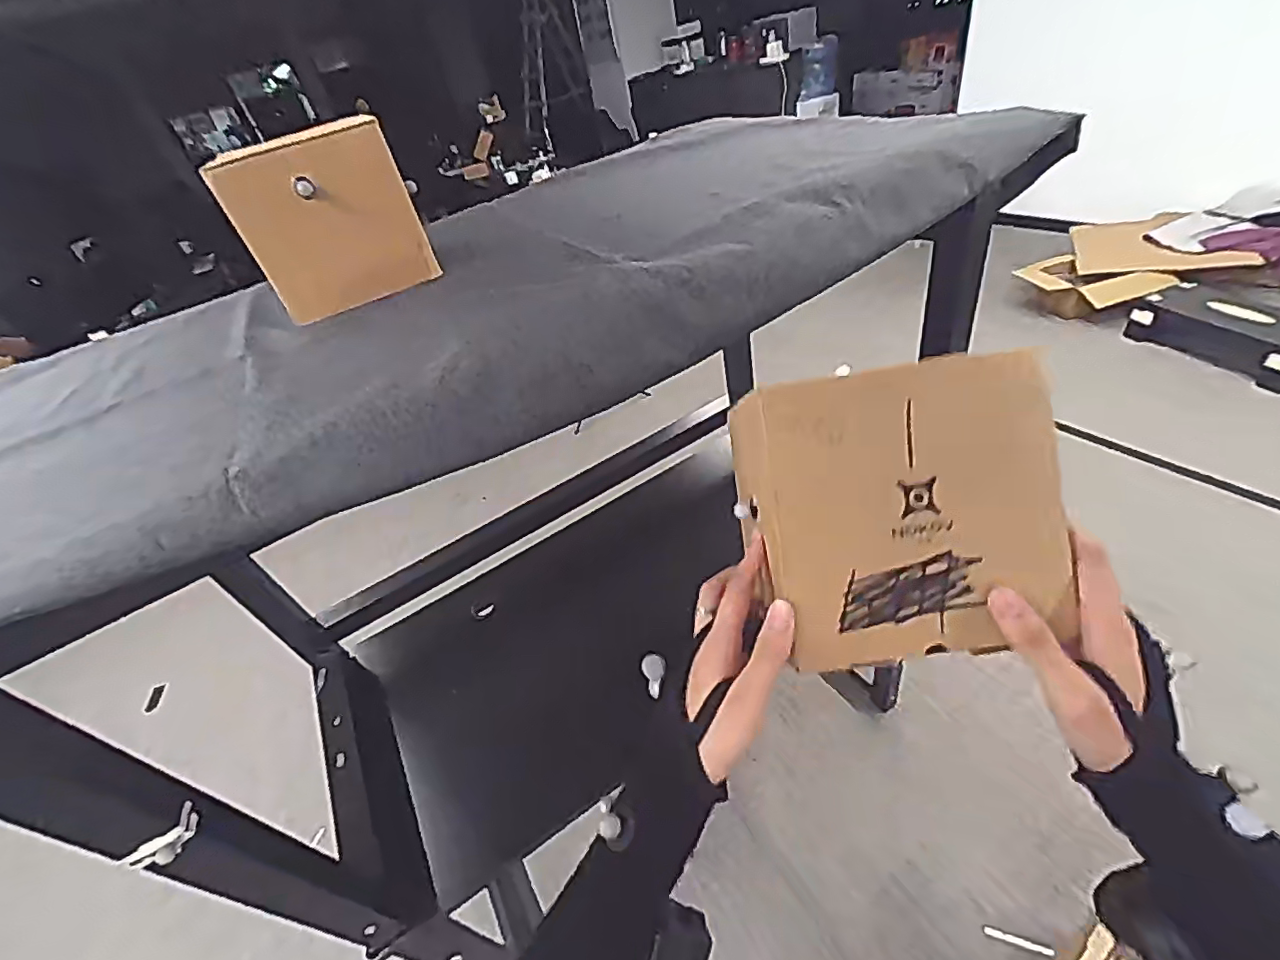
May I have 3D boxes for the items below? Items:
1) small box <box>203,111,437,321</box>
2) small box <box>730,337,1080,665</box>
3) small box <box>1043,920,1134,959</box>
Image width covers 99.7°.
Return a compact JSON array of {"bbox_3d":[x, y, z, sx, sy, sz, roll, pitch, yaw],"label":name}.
[{"bbox_3d":[-0.360,-0.316,0.643,0.179,0.176,0.168,-26,41,-13],"label":"small box"},{"bbox_3d":[0.163,0.011,0.389,0.168,0.179,0.176,-7,1,3],"label":"small box"},{"bbox_3d":[0.866,0.994,1.024,0.179,0.176,0.168,-31,42,-17],"label":"small box"}]
